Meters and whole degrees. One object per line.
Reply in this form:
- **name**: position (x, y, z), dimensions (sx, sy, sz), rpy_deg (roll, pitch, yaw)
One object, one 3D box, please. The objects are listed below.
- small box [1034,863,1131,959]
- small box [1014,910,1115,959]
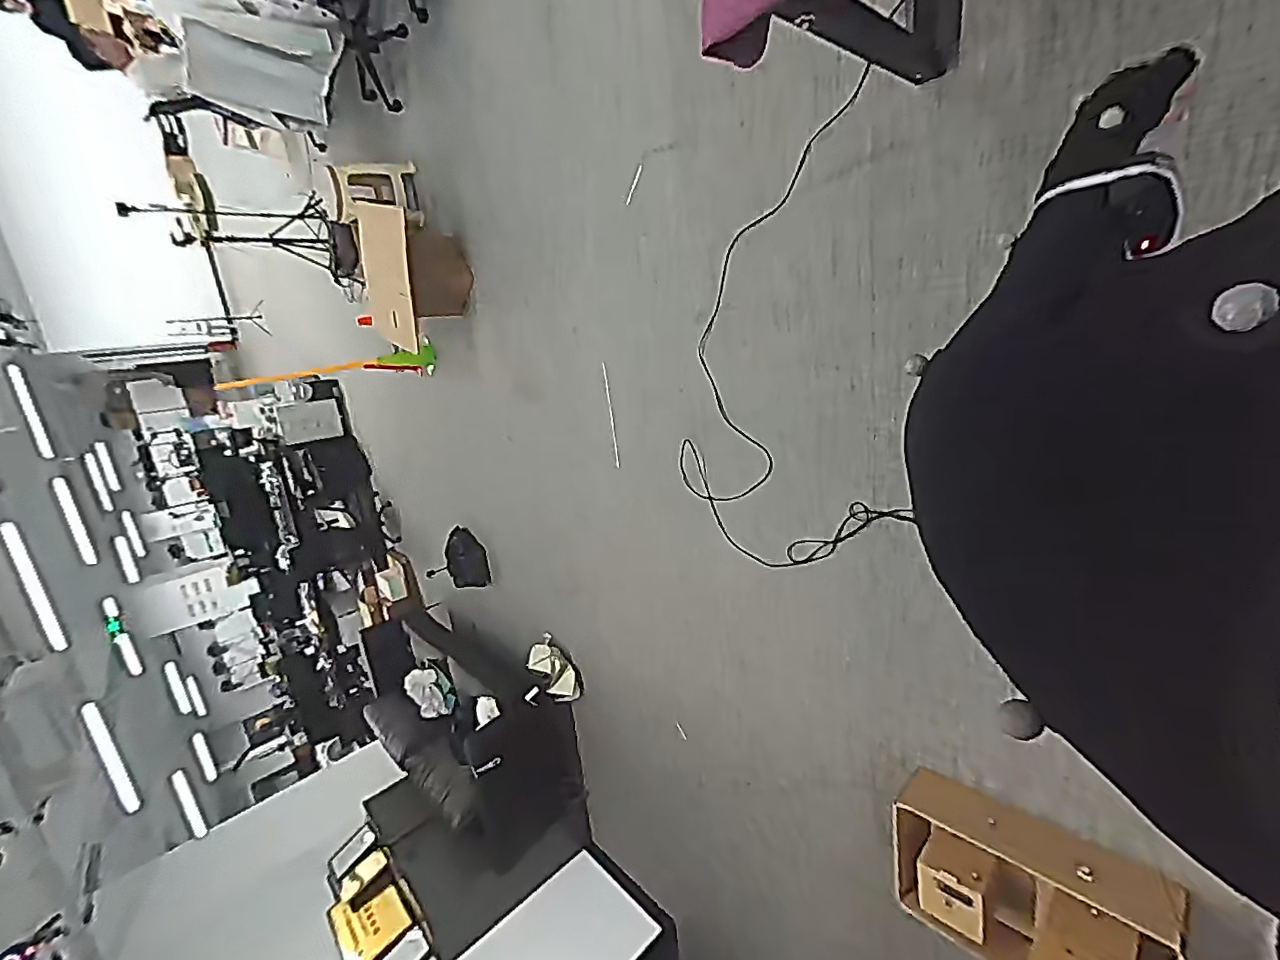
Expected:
- **small box**: position (1.111, 1.132, 1.363), dimensions (0.168, 0.176, 0.179), rpy_deg (10, 114, 47)
- **small box**: position (0.991, 1.181, 1.263), dimensions (0.168, 0.176, 0.179), rpy_deg (9, 113, 48)
